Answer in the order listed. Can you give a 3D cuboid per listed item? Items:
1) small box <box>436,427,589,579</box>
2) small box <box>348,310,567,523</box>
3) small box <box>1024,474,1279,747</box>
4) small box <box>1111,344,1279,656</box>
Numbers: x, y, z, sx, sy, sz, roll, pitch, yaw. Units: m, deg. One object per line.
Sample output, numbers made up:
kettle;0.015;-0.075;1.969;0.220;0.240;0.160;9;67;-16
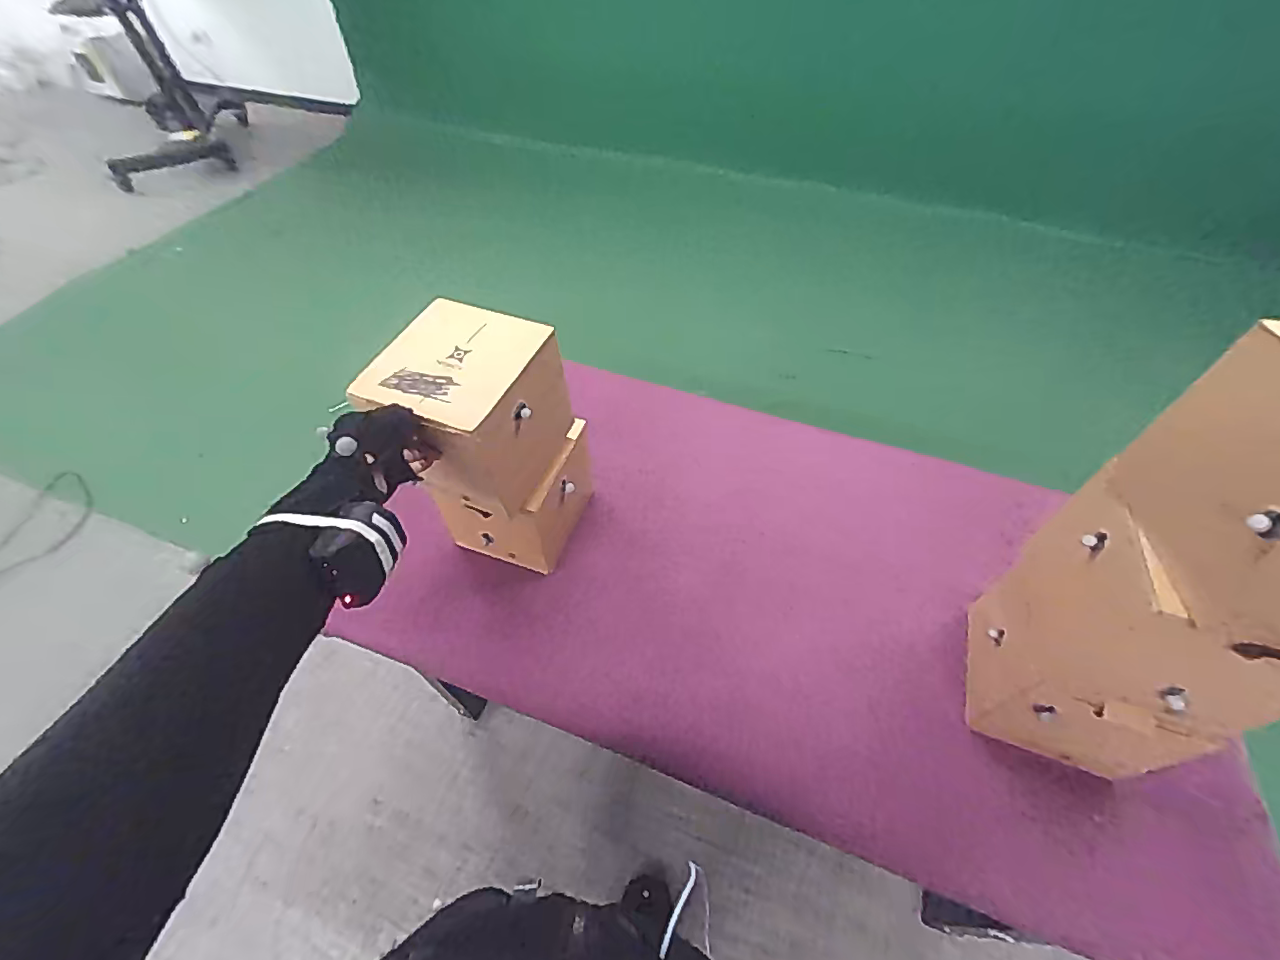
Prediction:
small box;-0.184;0.020;0.822;0.168;0.176;0.179;16;55;11
small box;-0.203;-0.074;0.665;0.168;0.176;0.179;18;57;15
small box;0.508;0.128;0.525;0.168;0.176;0.179;14;53;12
small box;0.514;0.027;0.397;0.168;0.176;0.179;6;51;4
